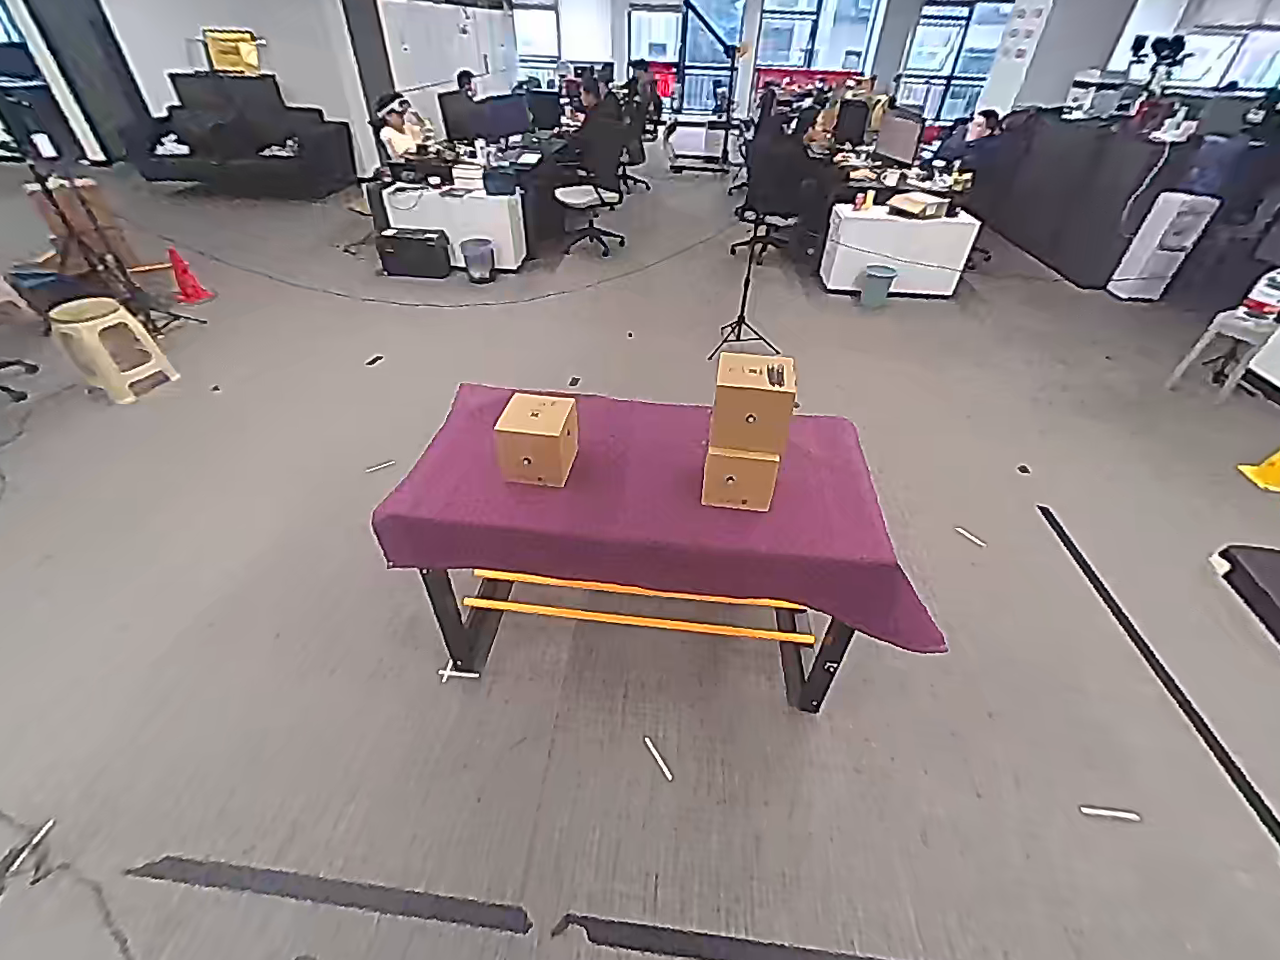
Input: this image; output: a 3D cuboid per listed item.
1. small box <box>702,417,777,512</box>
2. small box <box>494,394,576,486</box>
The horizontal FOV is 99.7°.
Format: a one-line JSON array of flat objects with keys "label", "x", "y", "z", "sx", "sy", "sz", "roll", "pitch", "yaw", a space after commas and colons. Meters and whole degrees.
[{"label": "small box", "x": 0.249, "y": -0.039, "z": 1.370, "sx": 0.168, "sy": 0.176, "sz": 0.179, "roll": 6, "pitch": 39, "yaw": 6}, {"label": "small box", "x": -0.265, "y": -0.104, "z": 1.419, "sx": 0.168, "sy": 0.176, "sz": 0.179, "roll": 7, "pitch": 40, "yaw": 5}]
